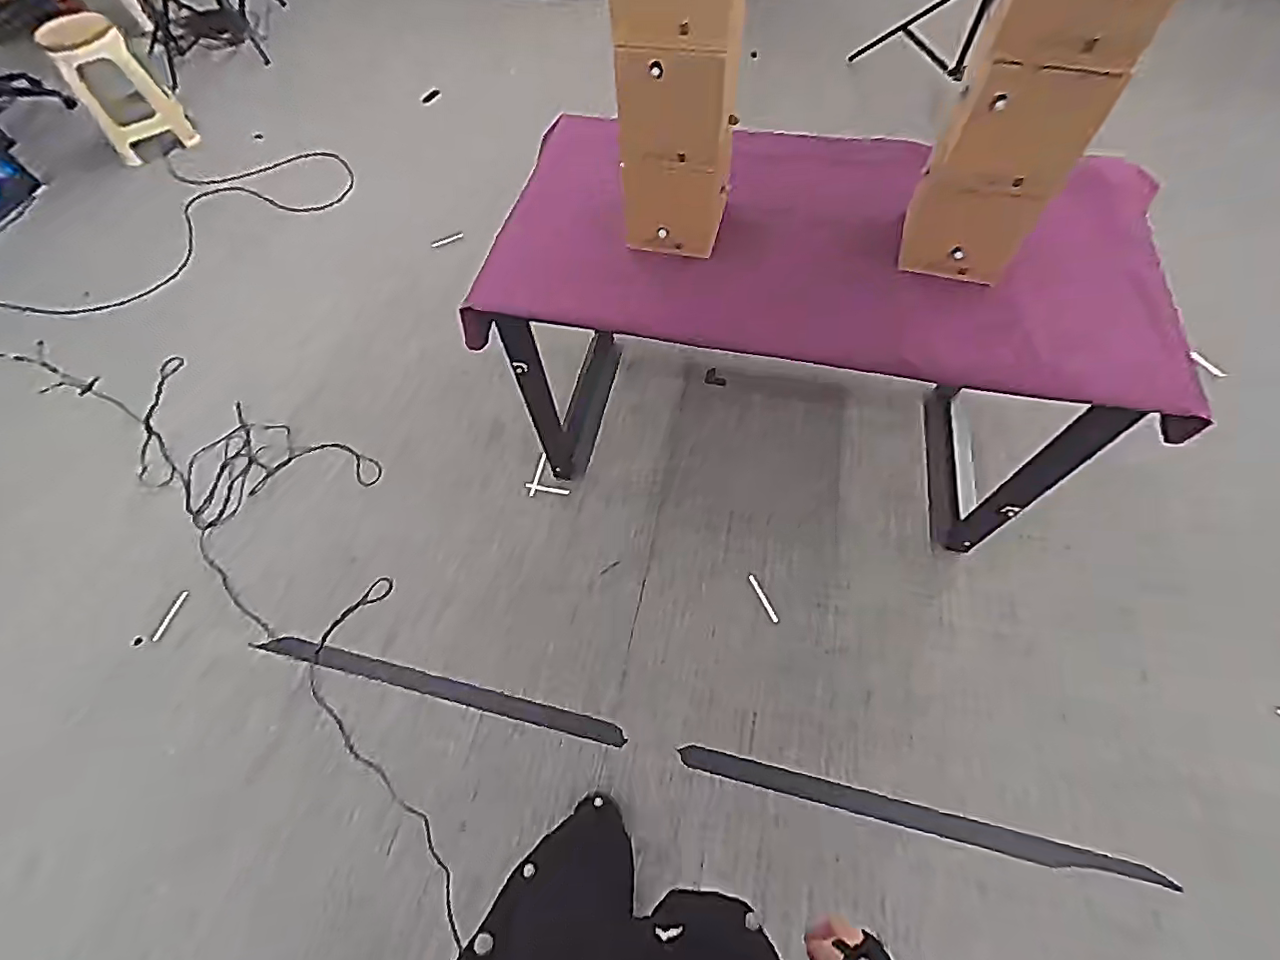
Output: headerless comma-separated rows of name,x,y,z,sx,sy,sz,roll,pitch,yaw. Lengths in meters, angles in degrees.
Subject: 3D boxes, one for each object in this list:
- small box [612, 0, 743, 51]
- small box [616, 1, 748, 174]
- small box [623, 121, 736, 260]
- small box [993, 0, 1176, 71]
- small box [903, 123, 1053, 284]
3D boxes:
small box,0.055,-0.701,0.711,0.168,0.176,0.179,10,62,8
small box,0.067,-0.620,0.853,0.168,0.176,0.179,11,62,9
small box,0.073,-0.540,0.996,0.168,0.176,0.179,12,64,9
small box,0.549,-0.624,0.642,0.168,0.176,0.179,17,63,11
small box,0.571,-0.473,0.930,0.168,0.176,0.179,15,63,12
